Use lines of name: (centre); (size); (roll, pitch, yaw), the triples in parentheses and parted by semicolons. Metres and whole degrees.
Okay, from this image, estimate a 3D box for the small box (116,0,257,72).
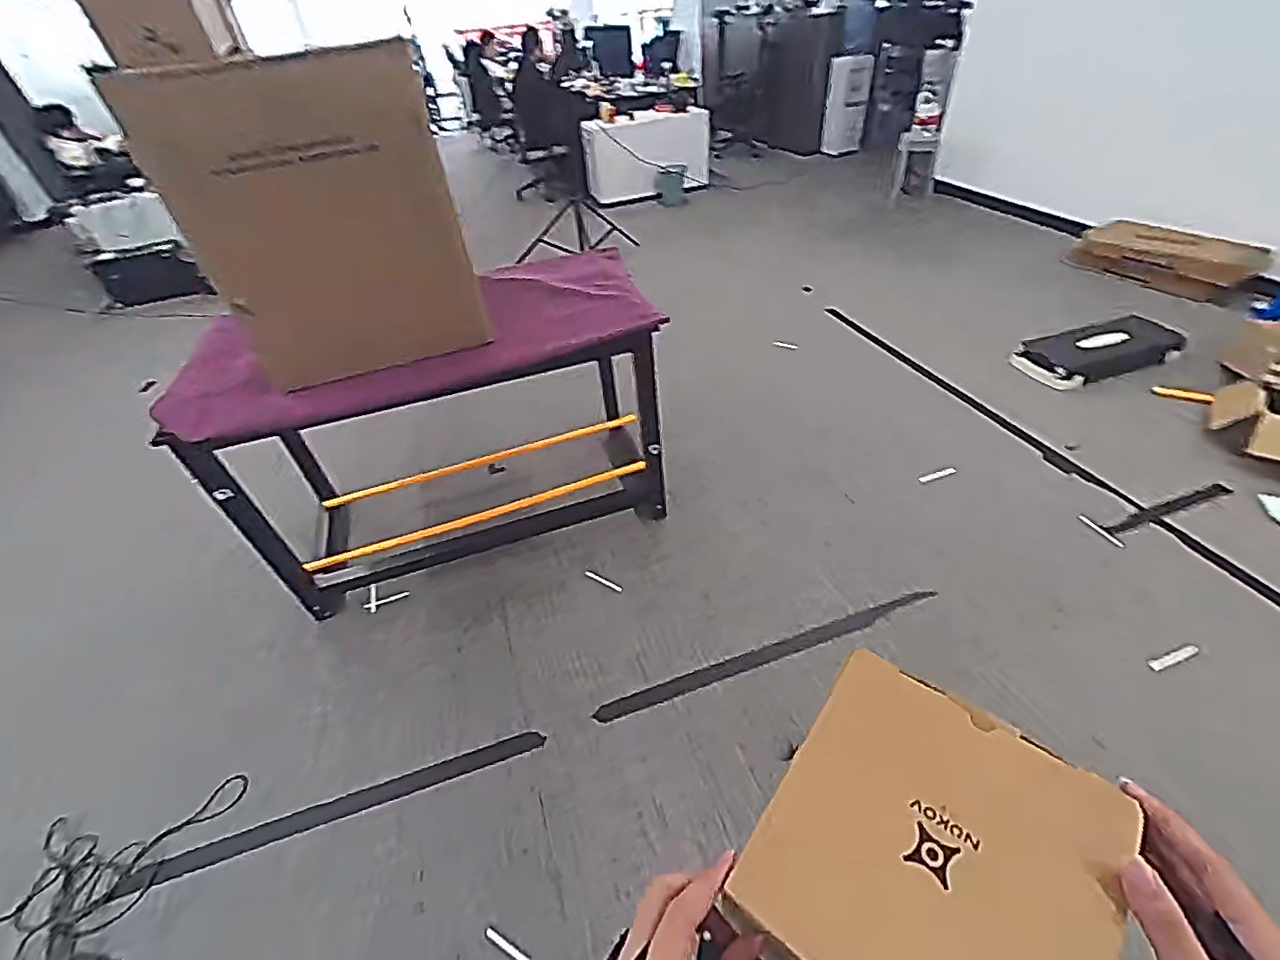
small box: (-0.898, -0.926, 1.069); (0.179, 0.176, 0.168); (-17, 43, -13)
